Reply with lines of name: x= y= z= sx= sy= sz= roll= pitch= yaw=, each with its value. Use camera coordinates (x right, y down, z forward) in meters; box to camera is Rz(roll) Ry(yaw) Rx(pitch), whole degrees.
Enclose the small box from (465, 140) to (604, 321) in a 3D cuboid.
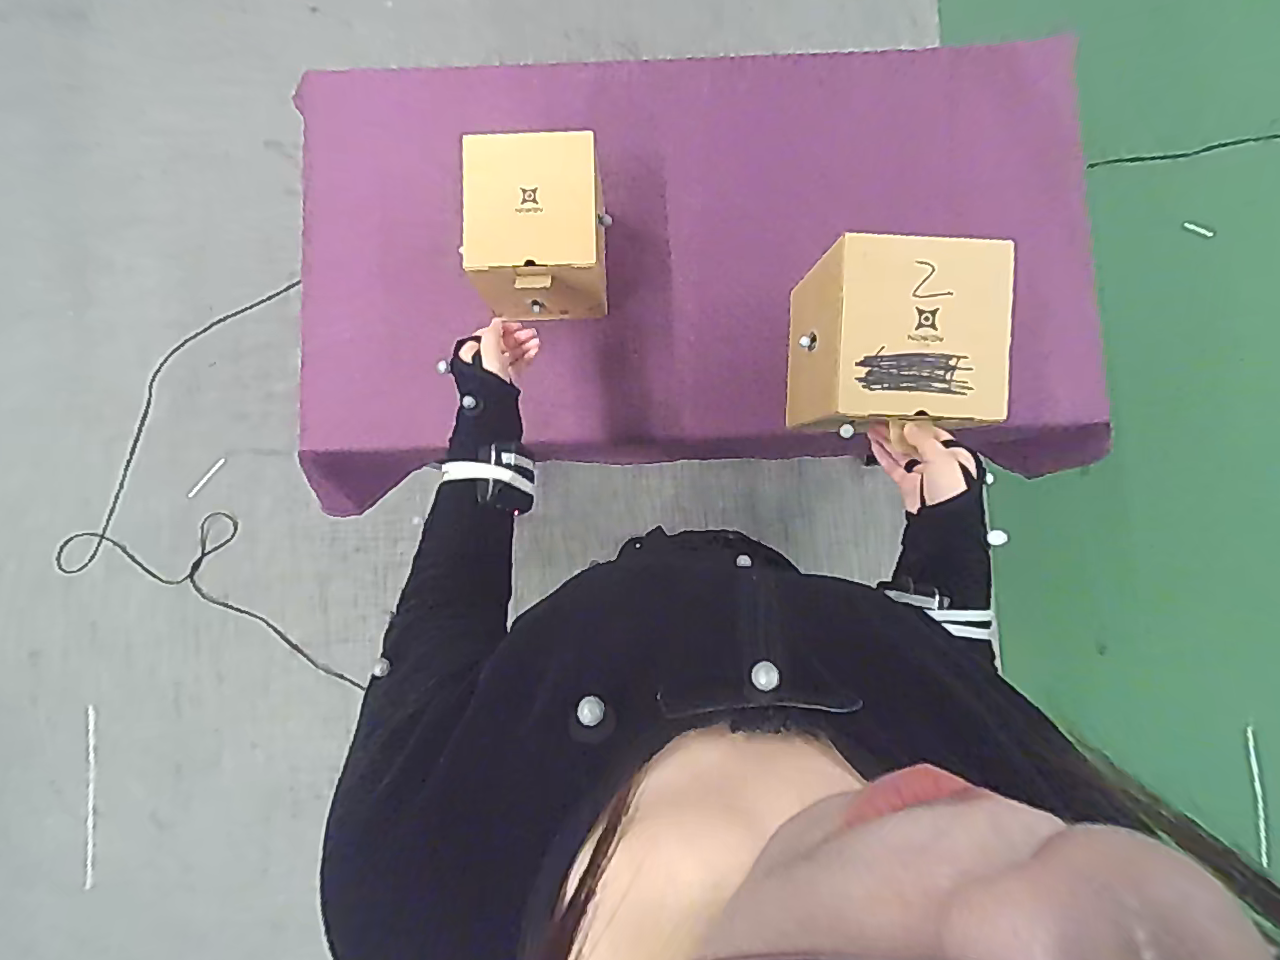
small box: x=-0.139 y=-0.341 z=0.763 sx=0.168 sy=0.176 sz=0.179 roll=-1 pitch=85 yaw=0
